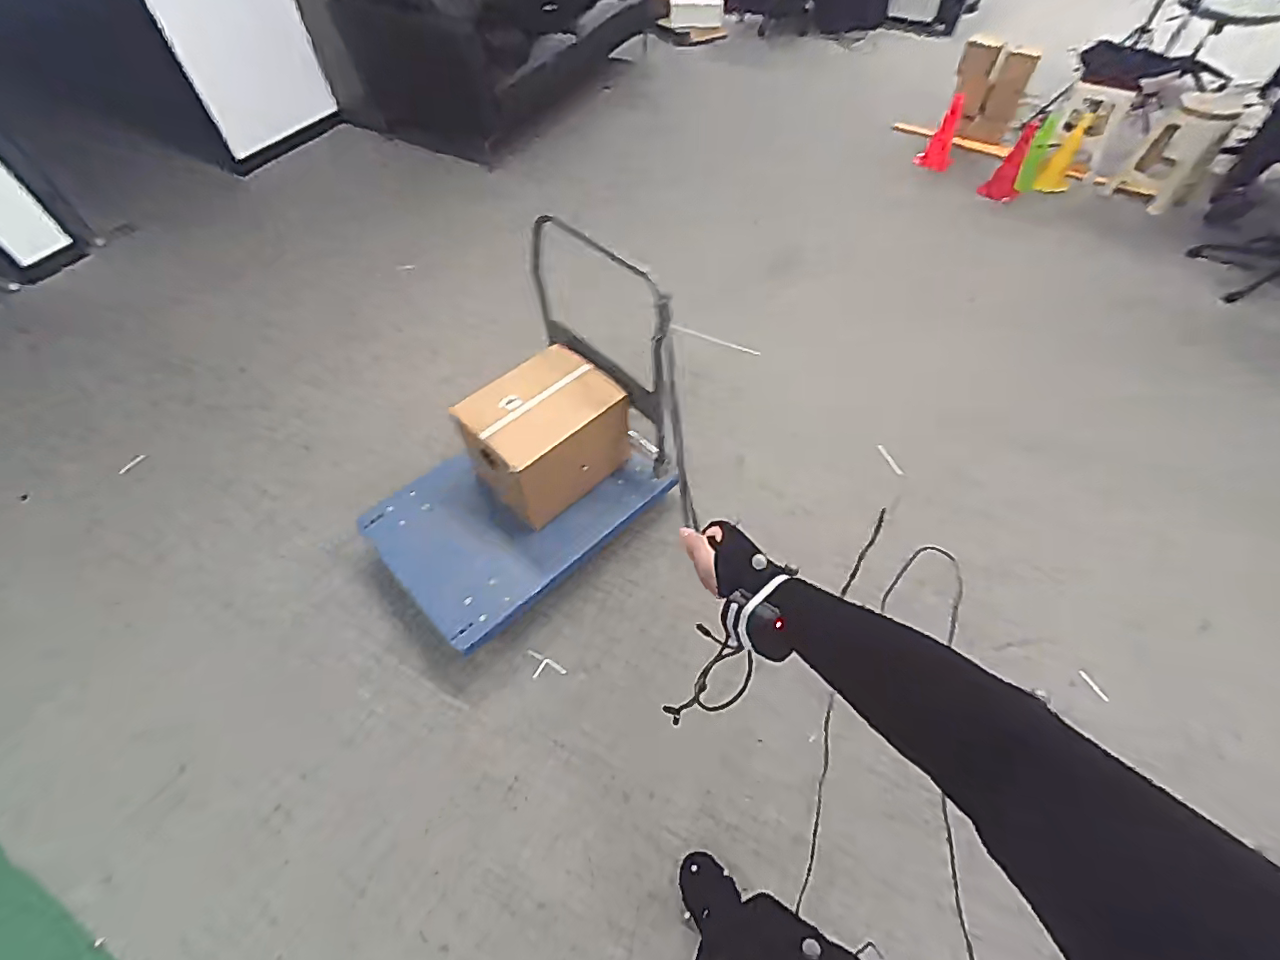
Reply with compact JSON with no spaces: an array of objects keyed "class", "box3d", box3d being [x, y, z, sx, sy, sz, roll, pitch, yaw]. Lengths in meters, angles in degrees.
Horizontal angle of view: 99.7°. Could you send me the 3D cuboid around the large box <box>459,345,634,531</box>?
[{"class":"large box","box3d":[-0.260,-0.128,1.640,0.408,0.320,0.320,-39,62,-23]}]
